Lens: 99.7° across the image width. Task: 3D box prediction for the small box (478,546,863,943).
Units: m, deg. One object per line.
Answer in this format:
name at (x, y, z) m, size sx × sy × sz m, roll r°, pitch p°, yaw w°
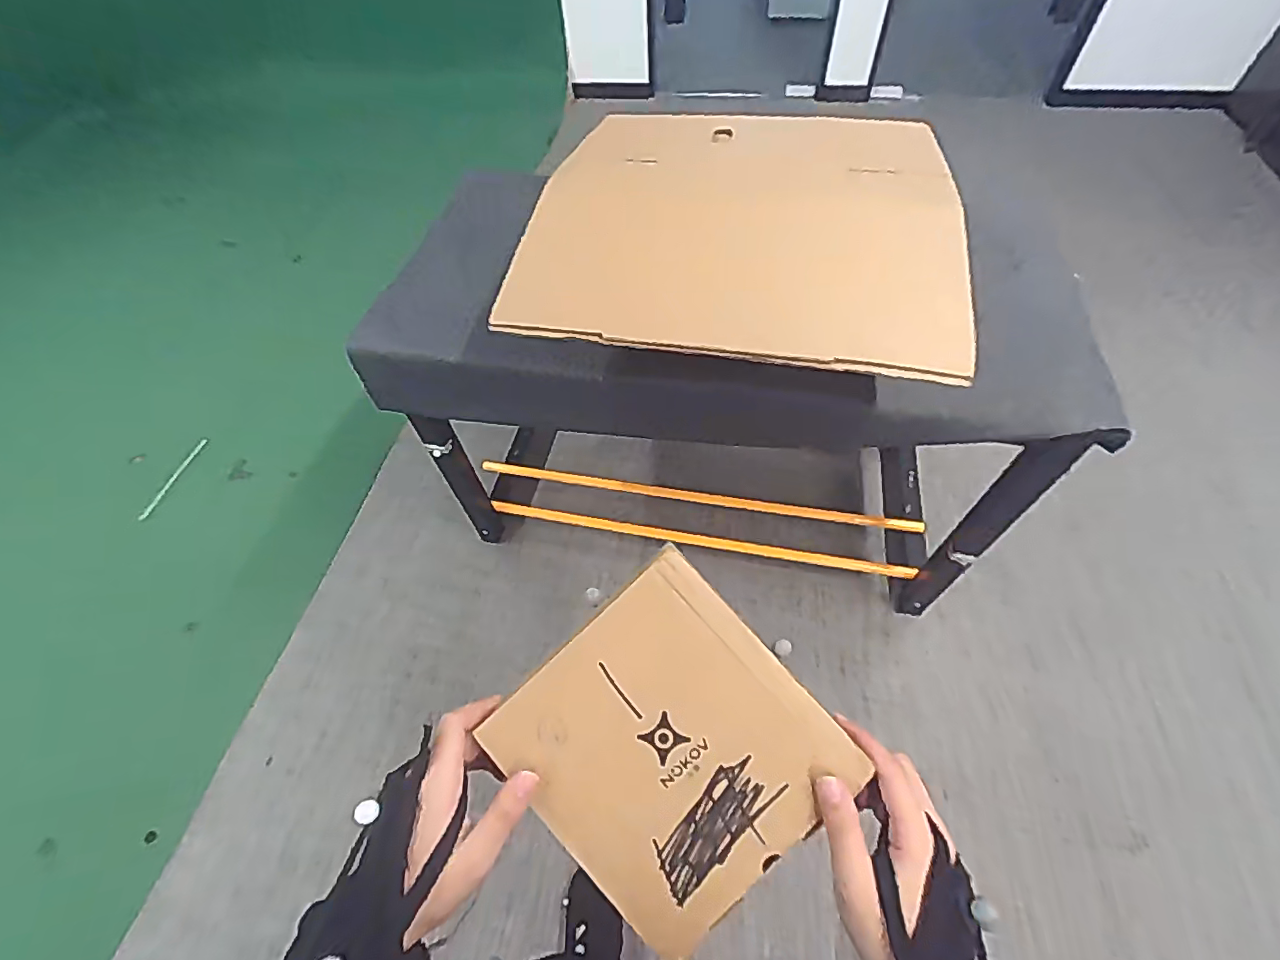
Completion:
small box at (0.021, 0.161, 0.403) m, size 0.168 × 0.176 × 0.179 m, roll -43°, pitch 84°, yaw -2°
